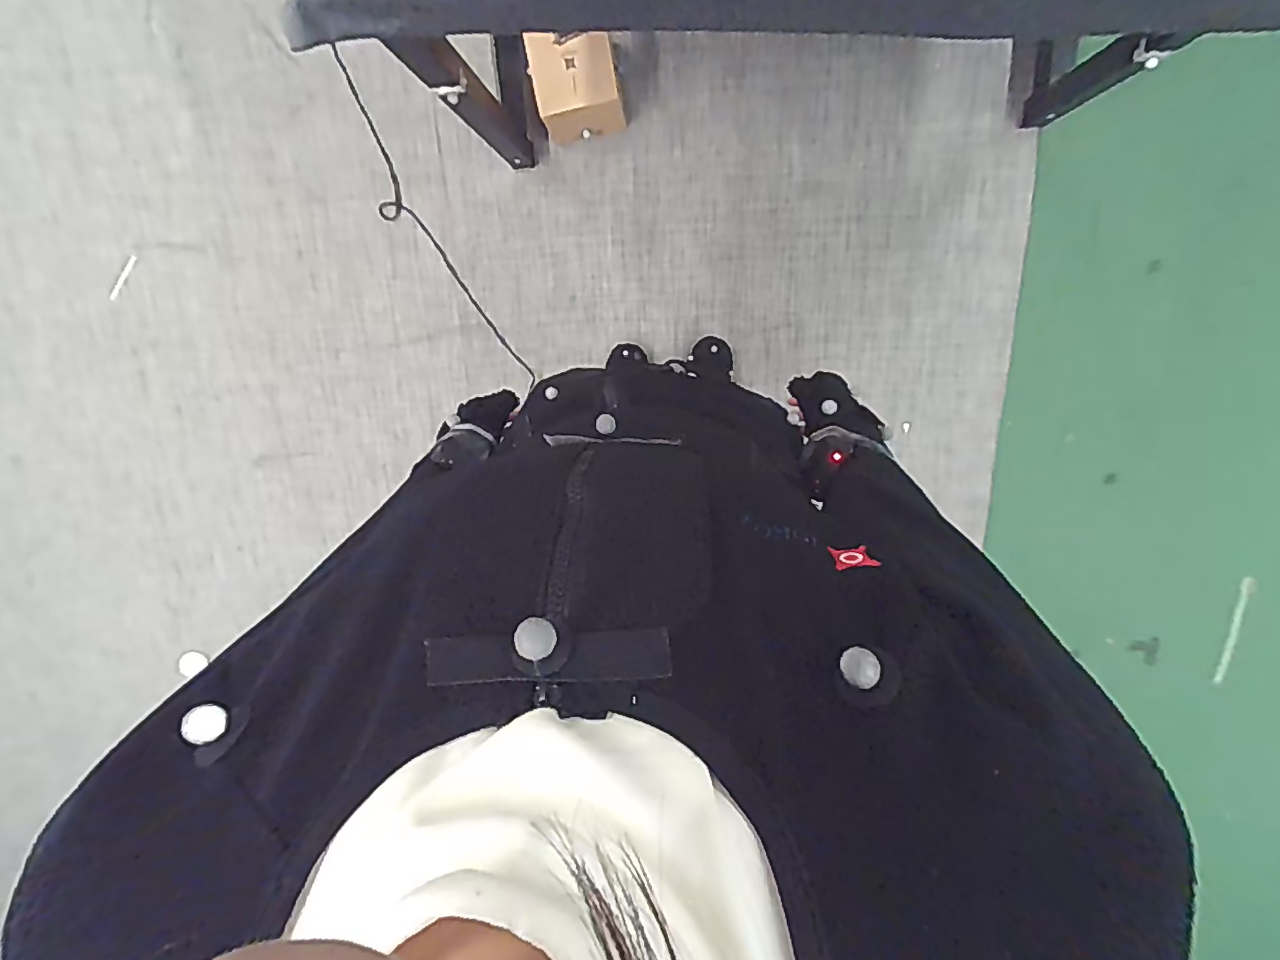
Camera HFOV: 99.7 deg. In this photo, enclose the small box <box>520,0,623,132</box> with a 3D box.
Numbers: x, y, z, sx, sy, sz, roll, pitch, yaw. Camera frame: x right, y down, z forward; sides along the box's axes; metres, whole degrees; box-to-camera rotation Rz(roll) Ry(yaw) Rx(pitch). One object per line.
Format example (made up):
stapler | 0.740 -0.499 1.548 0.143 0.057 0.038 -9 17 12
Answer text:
small box | -0.134 -0.865 1.128 0.168 0.176 0.179 -9 106 7
